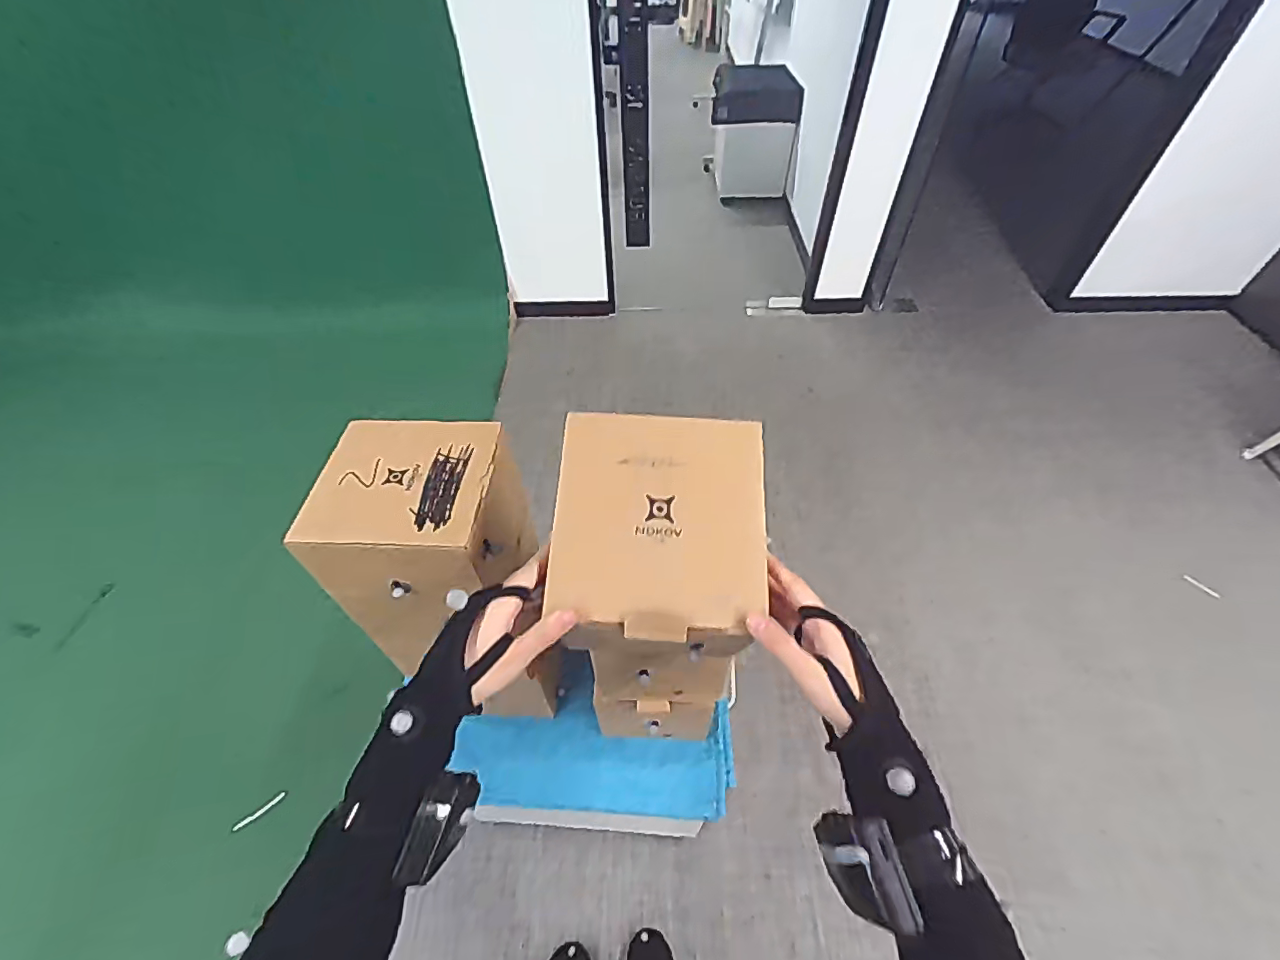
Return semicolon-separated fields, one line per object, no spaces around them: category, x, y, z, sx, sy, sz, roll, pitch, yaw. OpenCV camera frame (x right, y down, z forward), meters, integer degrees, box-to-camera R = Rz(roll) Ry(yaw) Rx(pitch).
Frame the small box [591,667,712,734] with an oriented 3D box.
small box;0.022;0.277;0.829;0.168;0.176;0.179;1;50;2

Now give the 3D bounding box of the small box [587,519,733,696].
small box;0.027;0.170;0.707;0.168;0.176;0.179;-1;48;1

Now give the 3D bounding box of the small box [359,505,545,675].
small box;-0.231;0.150;0.725;0.179;0.176;0.168;1;49;2

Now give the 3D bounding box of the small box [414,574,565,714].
small box;-0.220;0.257;0.850;0.179;0.176;0.168;1;49;2
